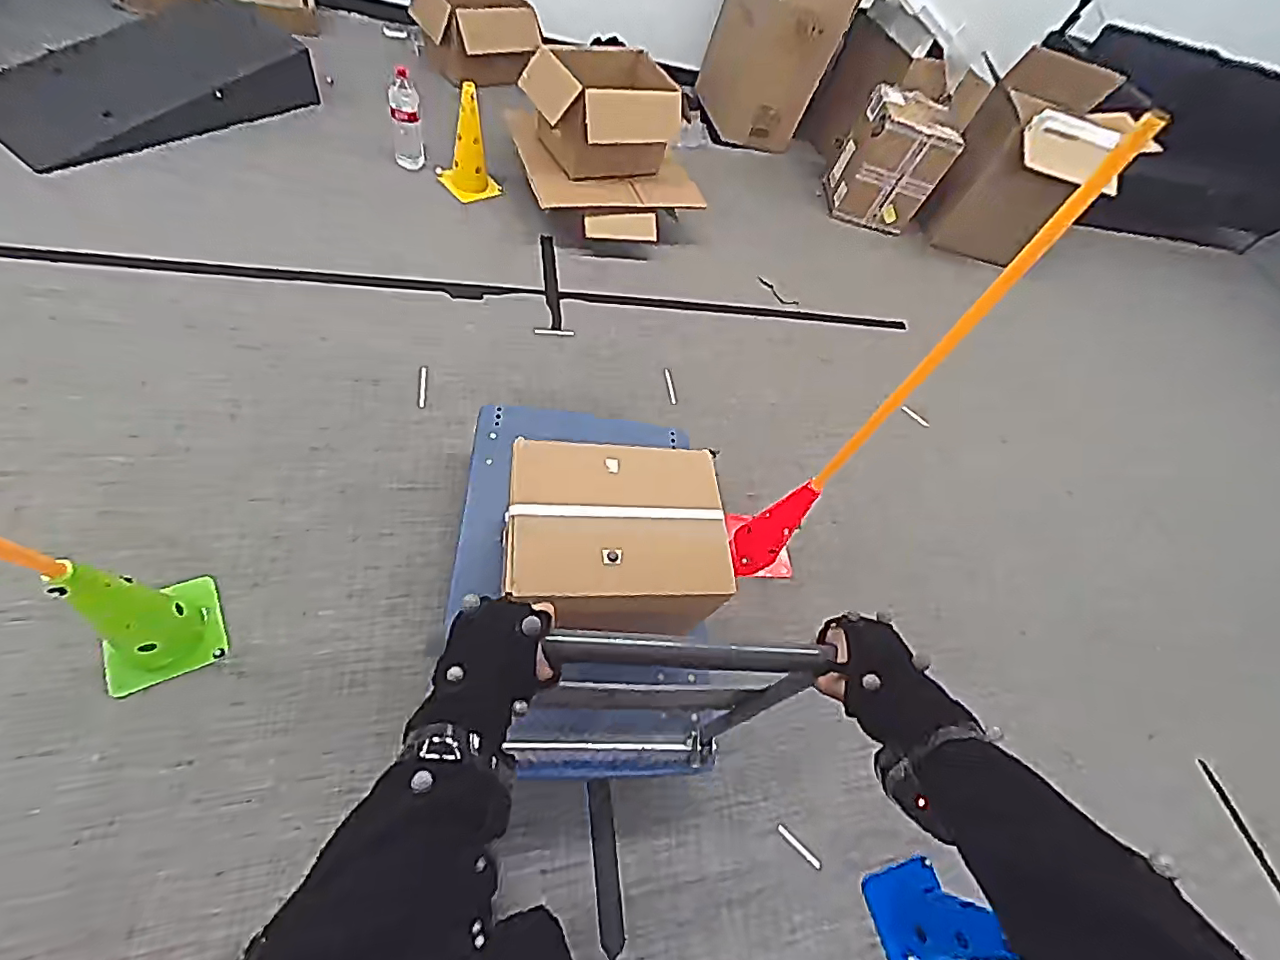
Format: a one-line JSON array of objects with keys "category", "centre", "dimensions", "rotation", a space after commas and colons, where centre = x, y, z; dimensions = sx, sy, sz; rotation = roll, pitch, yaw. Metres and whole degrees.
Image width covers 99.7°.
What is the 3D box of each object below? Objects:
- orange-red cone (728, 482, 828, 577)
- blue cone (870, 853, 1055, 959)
[{"category": "orange-red cone", "centre": [0.405, 0.108, 1.475], "dimensions": [0.199, 0.360, 0.198], "rotation": [6, 58, -14]}, {"category": "blue cone", "centre": [0.663, 0.889, 1.082], "dimensions": [0.193, 0.380, 0.192], "rotation": [-4, 59, -19]}]
